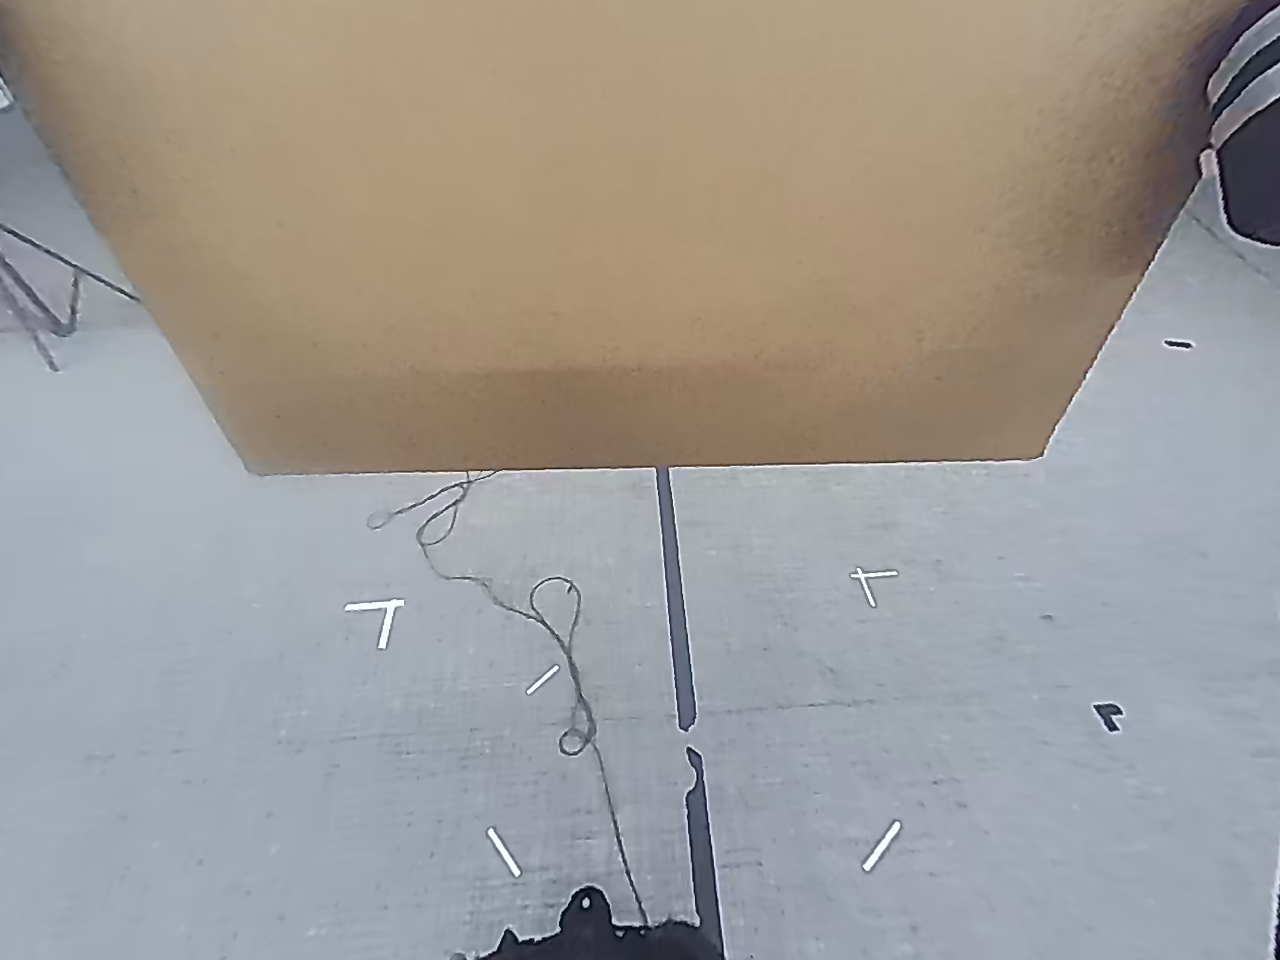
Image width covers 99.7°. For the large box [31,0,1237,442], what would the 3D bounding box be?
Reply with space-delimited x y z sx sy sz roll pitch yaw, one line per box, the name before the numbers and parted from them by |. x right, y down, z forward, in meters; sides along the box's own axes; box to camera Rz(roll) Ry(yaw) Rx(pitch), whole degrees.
large box | -0.002 -0.231 0.304 0.408 0.320 0.320 0 41 -1
